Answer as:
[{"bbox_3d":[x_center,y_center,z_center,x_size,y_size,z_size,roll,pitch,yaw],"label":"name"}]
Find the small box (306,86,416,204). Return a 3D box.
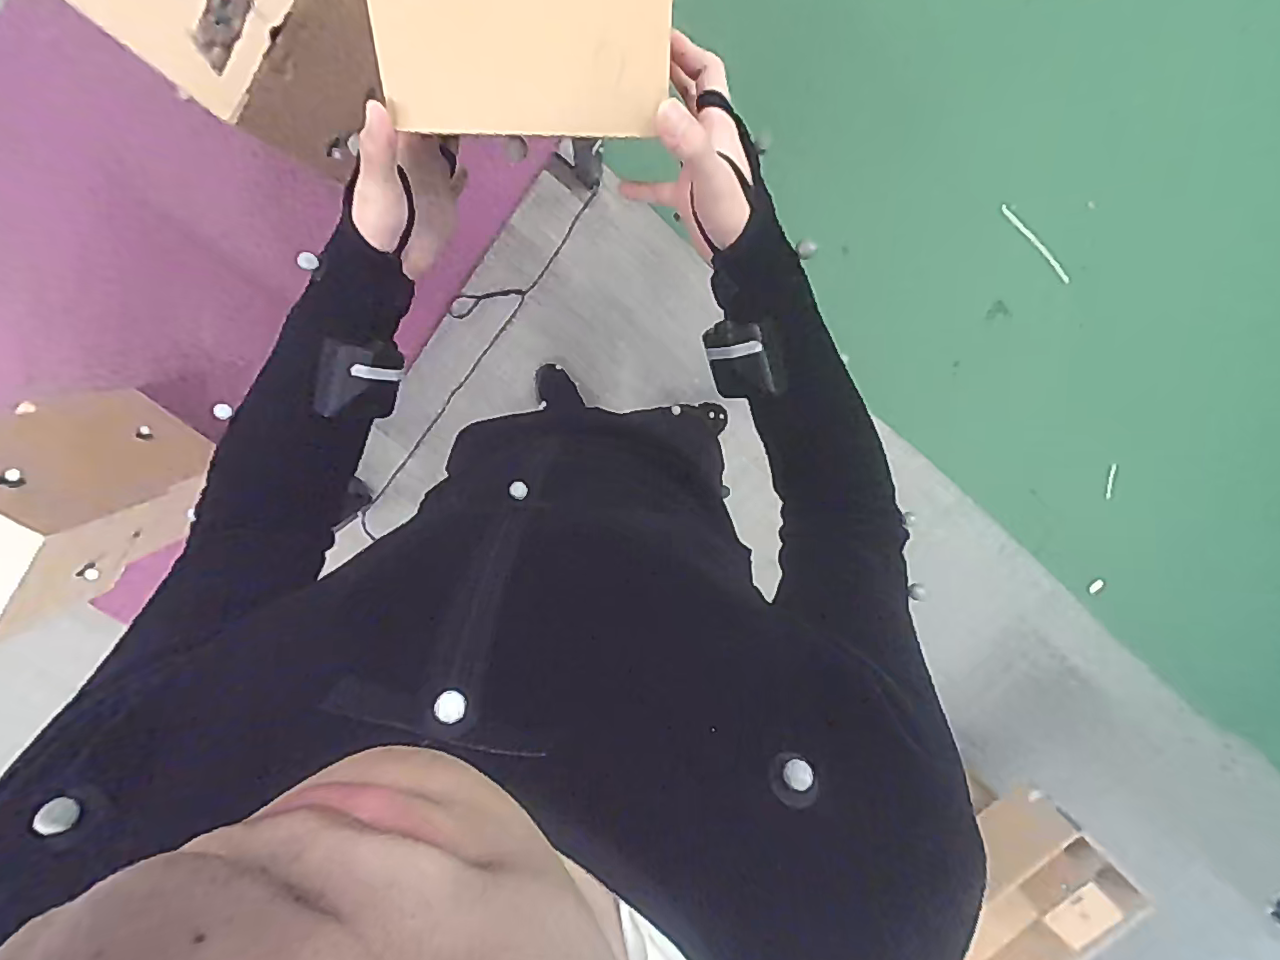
[{"bbox_3d":[-0.396,-0.479,0.669,0.179,0.176,0.168,39,99,-11],"label":"small box"}]

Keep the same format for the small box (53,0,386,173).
[{"bbox_3d":[-0.372,-0.427,0.514,0.179,0.176,0.168,37,100,-10],"label":"small box"}]

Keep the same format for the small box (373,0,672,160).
[{"bbox_3d":[-0.062,-0.315,0.352,0.168,0.176,0.179,2,121,-1],"label":"small box"}]

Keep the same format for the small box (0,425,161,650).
[{"bbox_3d":[-0.707,0.056,0.603,0.179,0.176,0.168,36,98,-12],"label":"small box"}]

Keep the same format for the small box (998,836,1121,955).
[{"bbox_3d":[1.154,1.144,1.499,0.168,0.176,0.179,-44,103,6],"label":"small box"}]
